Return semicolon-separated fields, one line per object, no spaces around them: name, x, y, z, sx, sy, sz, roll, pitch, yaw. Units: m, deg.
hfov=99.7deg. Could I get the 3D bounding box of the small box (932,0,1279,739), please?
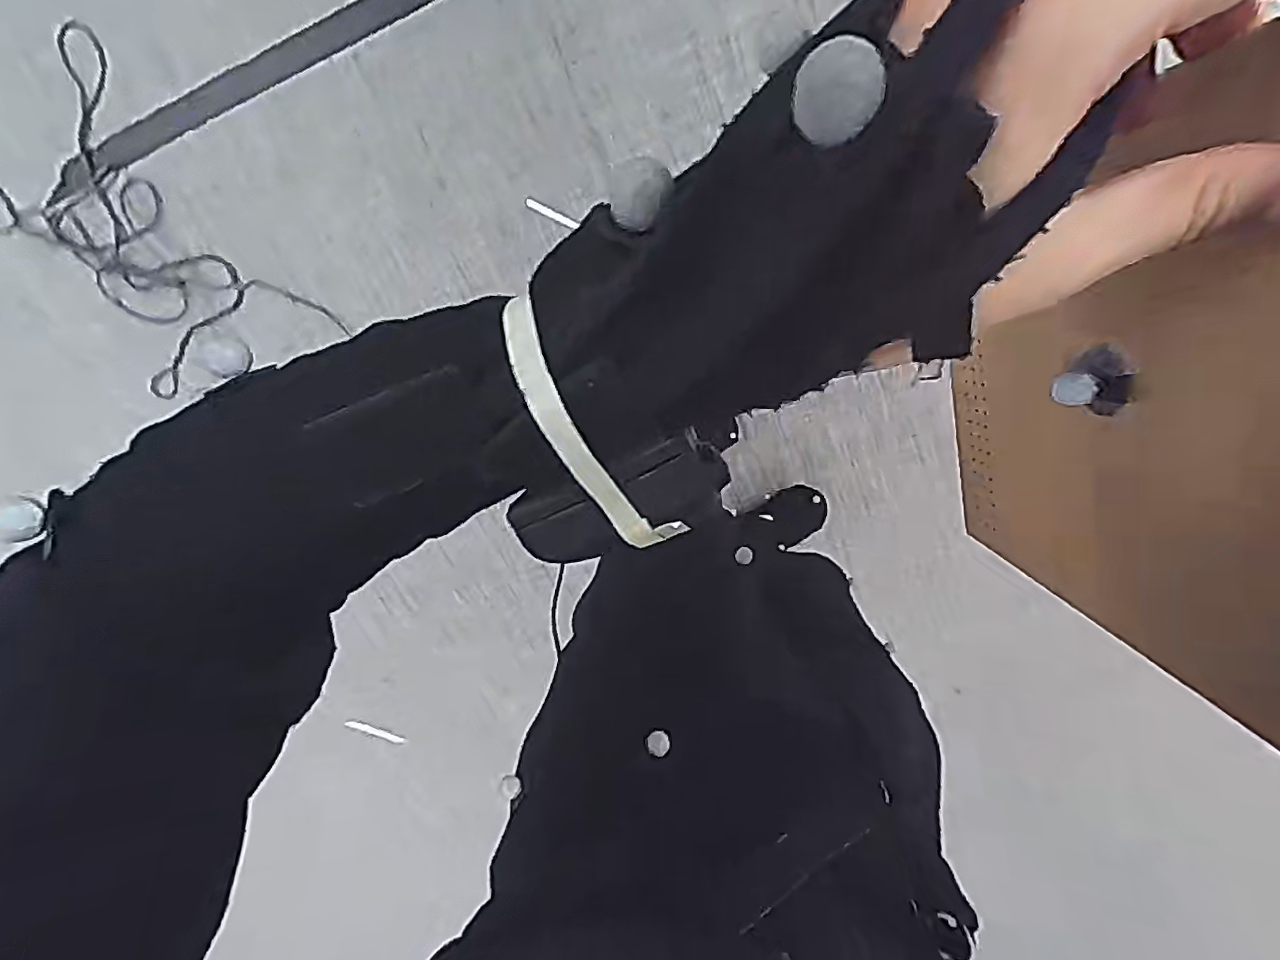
small box;0.219;-0.051;0.167;0.168;0.176;0.179;-15;105;5
